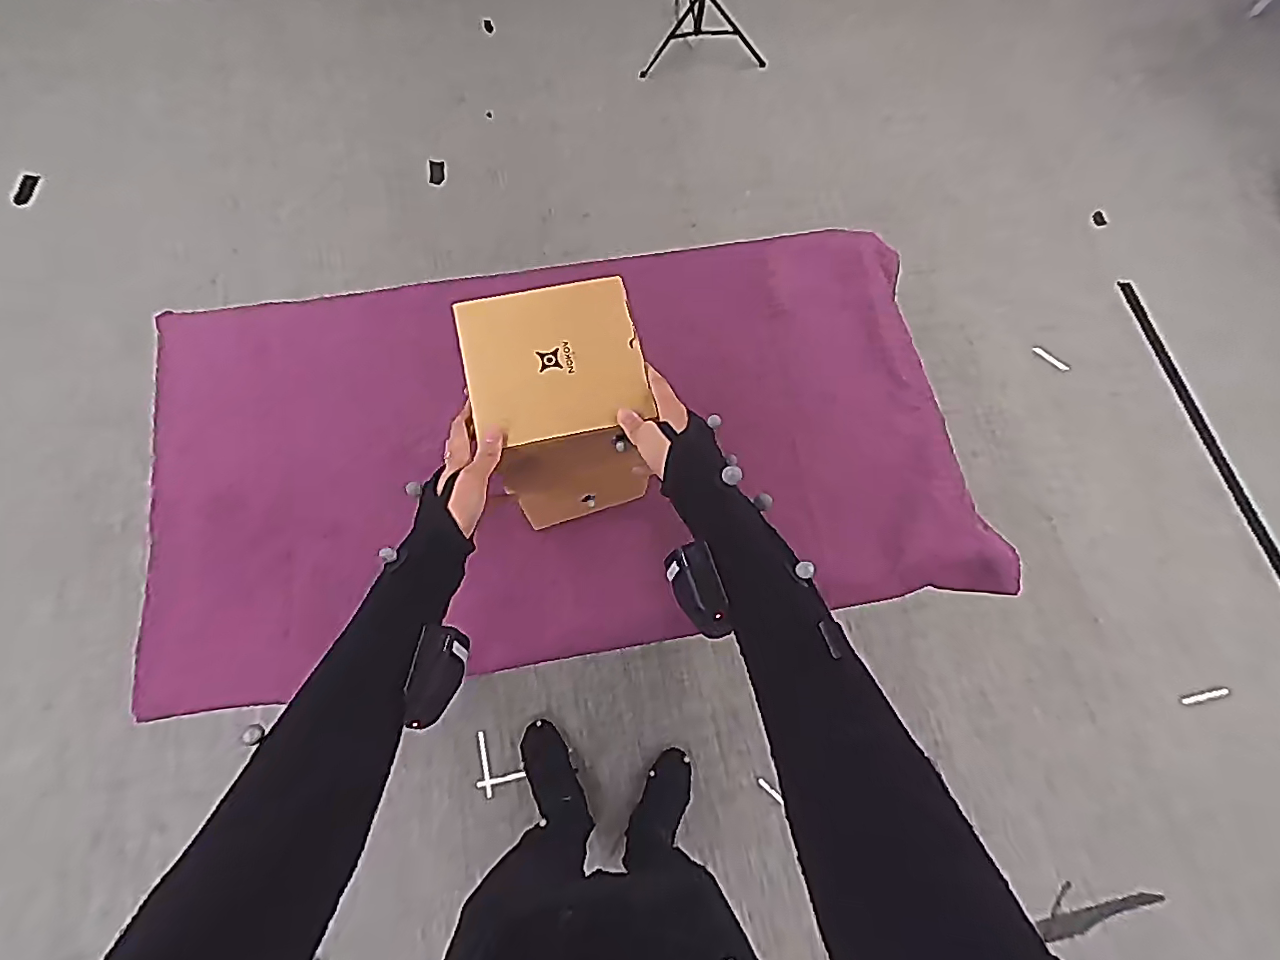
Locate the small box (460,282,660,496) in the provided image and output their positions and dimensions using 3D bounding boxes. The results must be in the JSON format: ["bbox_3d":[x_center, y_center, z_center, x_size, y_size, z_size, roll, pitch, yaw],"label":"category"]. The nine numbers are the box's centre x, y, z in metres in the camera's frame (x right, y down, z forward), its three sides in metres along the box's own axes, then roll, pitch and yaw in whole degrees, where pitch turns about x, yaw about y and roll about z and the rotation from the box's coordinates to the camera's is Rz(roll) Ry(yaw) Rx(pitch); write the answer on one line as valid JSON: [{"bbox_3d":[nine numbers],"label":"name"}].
[{"bbox_3d":[-0.086,-0.091,0.610,0.179,0.176,0.168,-12,74,-8],"label":"small box"}]
